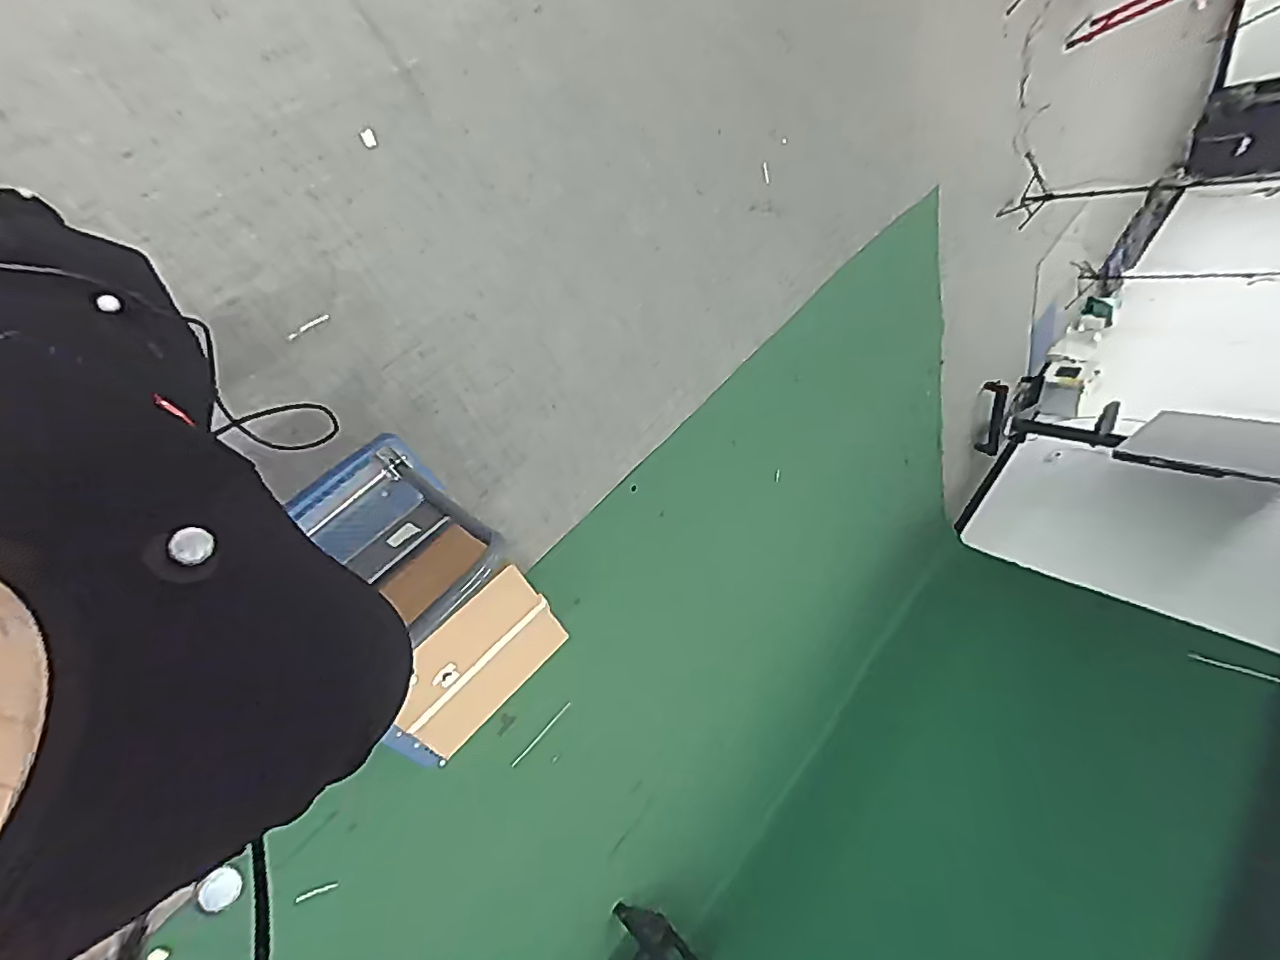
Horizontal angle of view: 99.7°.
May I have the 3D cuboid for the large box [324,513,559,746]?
[{"bbox_3d":[-0.491,0.357,1.368,0.408,0.320,0.320,-43,129,-21],"label":"large box"}]
